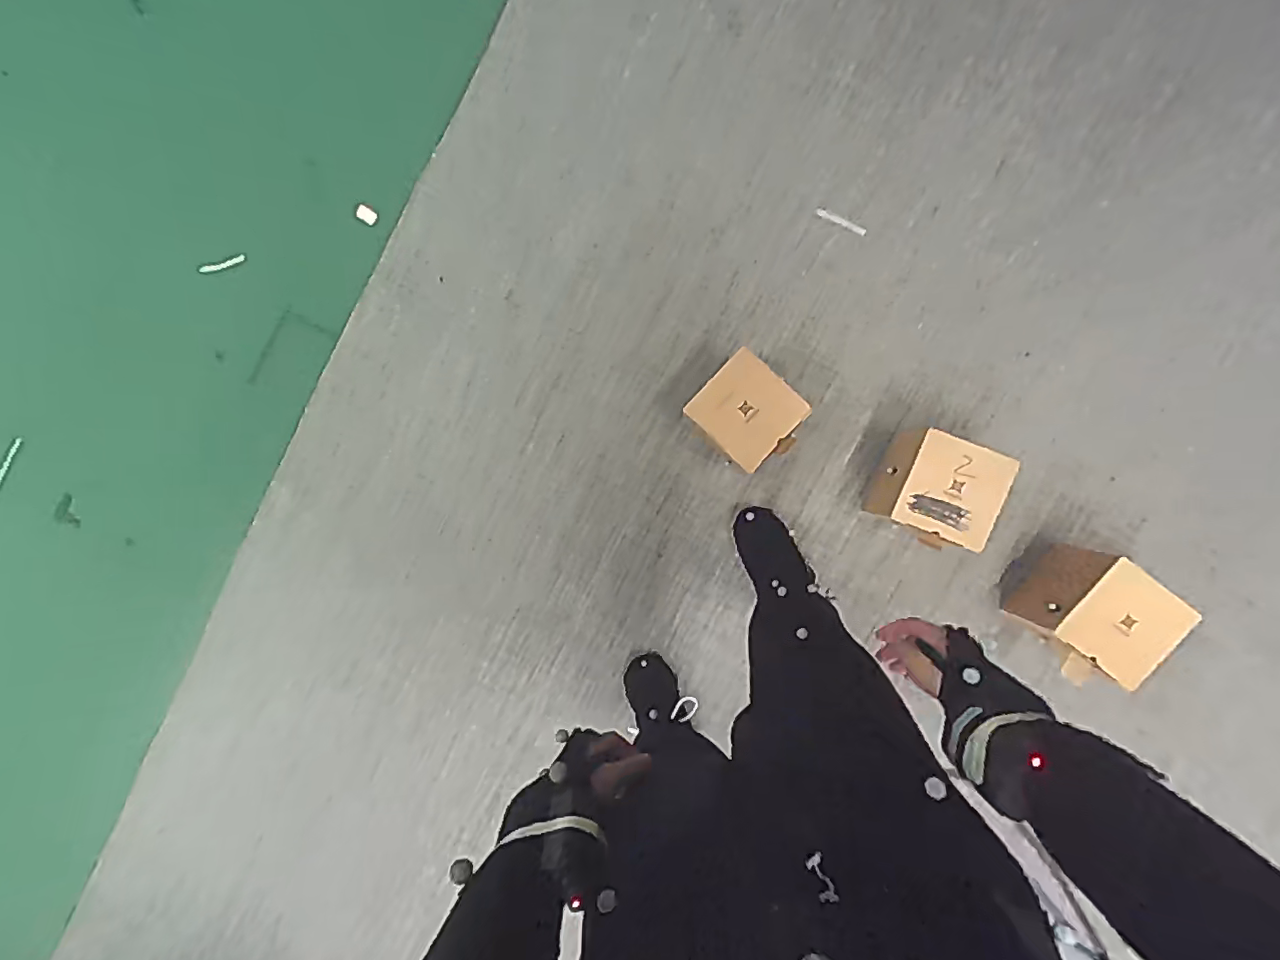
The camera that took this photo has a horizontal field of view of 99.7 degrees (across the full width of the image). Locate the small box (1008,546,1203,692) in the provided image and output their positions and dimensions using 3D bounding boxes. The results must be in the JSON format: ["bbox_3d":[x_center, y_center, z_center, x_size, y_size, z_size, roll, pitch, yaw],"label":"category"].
[{"bbox_3d":[0.830,0.241,0.989,0.168,0.176,0.179,39,95,4],"label":"small box"}]

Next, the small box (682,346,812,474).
[{"bbox_3d":[0.200,-0.128,1.049,0.179,0.176,0.168,44,94,5],"label":"small box"}]
